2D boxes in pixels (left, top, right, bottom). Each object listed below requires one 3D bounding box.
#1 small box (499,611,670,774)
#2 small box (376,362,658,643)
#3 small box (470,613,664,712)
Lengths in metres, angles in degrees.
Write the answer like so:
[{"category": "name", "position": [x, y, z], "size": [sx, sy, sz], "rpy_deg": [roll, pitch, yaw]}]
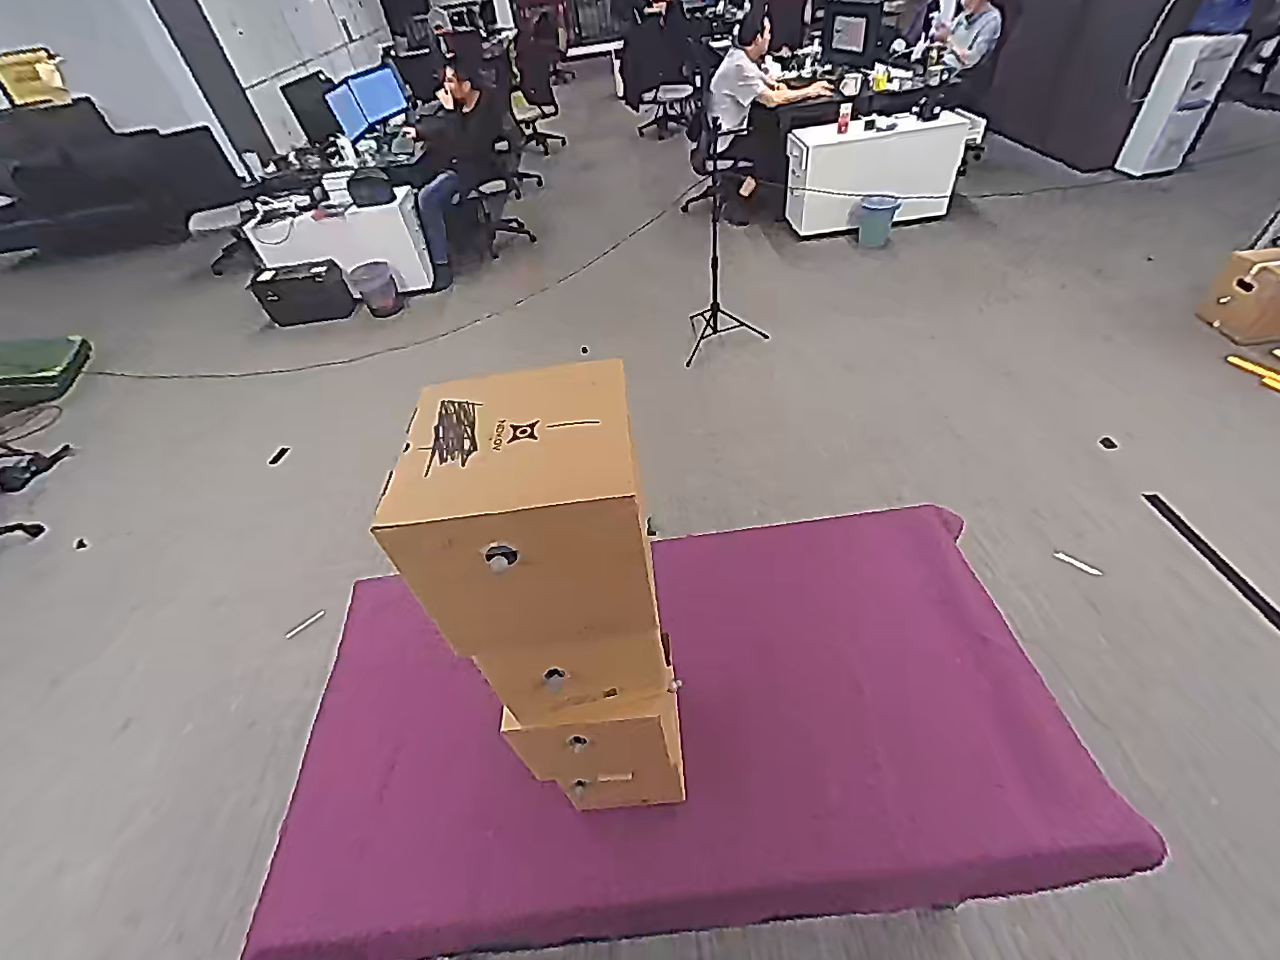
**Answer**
[{"category": "small box", "position": [-0.059, 0.259, 0.688], "size": [0.179, 0.176, 0.168], "rpy_deg": [-6, 45, 3]}, {"category": "small box", "position": [-0.084, 0.023, 0.463], "size": [0.179, 0.176, 0.168], "rpy_deg": [-7, 44, 1]}, {"category": "small box", "position": [-0.073, 0.131, 0.587], "size": [0.168, 0.176, 0.179], "rpy_deg": [-11, 43, -3]}]
